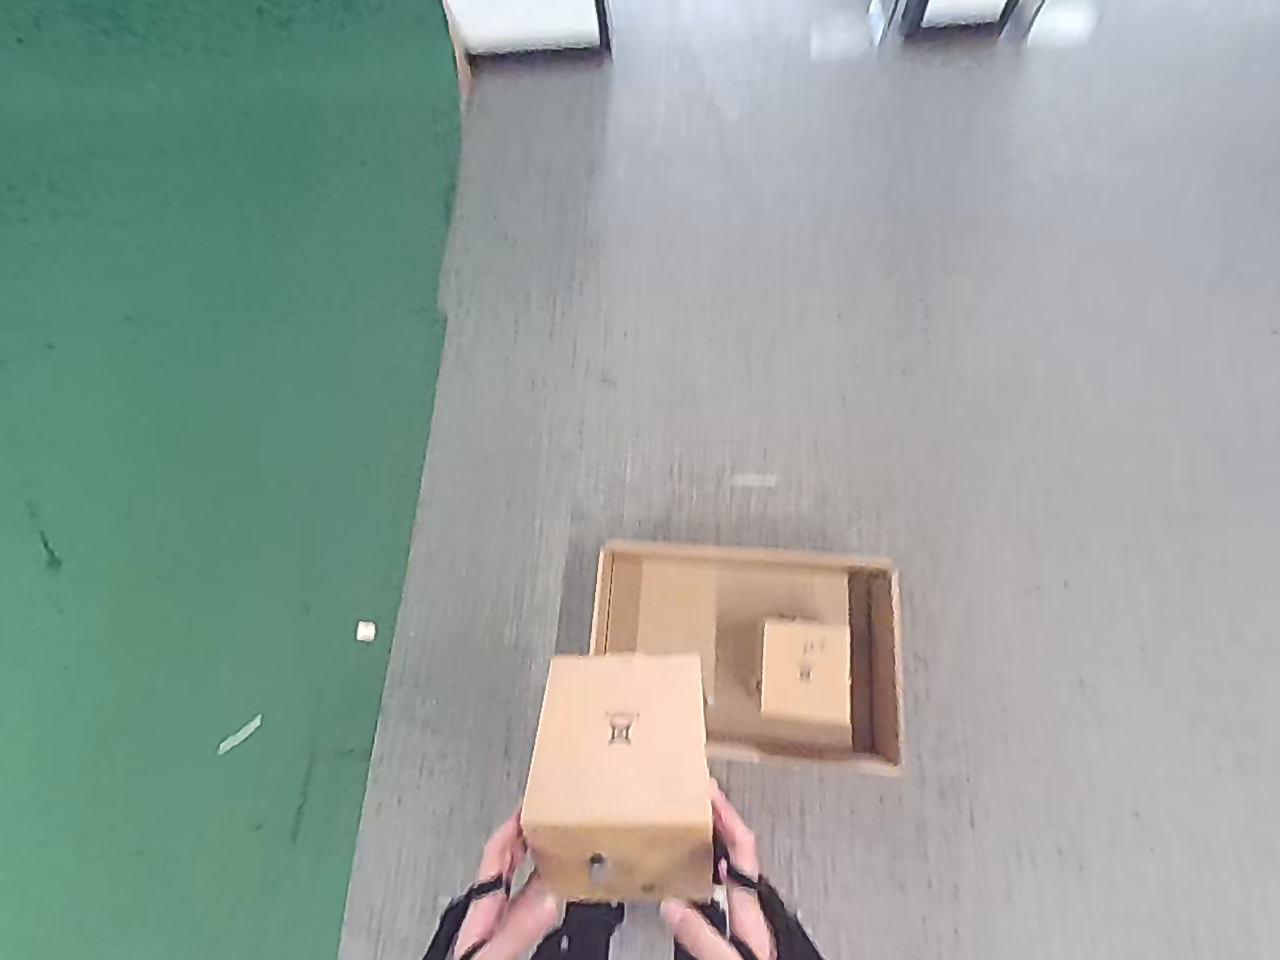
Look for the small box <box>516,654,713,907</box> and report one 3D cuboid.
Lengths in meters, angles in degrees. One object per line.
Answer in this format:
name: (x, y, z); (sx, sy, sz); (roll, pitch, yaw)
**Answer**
small box: (-0.014, 0.304, 0.553); (0.168, 0.176, 0.179); (-2, 31, 3)
